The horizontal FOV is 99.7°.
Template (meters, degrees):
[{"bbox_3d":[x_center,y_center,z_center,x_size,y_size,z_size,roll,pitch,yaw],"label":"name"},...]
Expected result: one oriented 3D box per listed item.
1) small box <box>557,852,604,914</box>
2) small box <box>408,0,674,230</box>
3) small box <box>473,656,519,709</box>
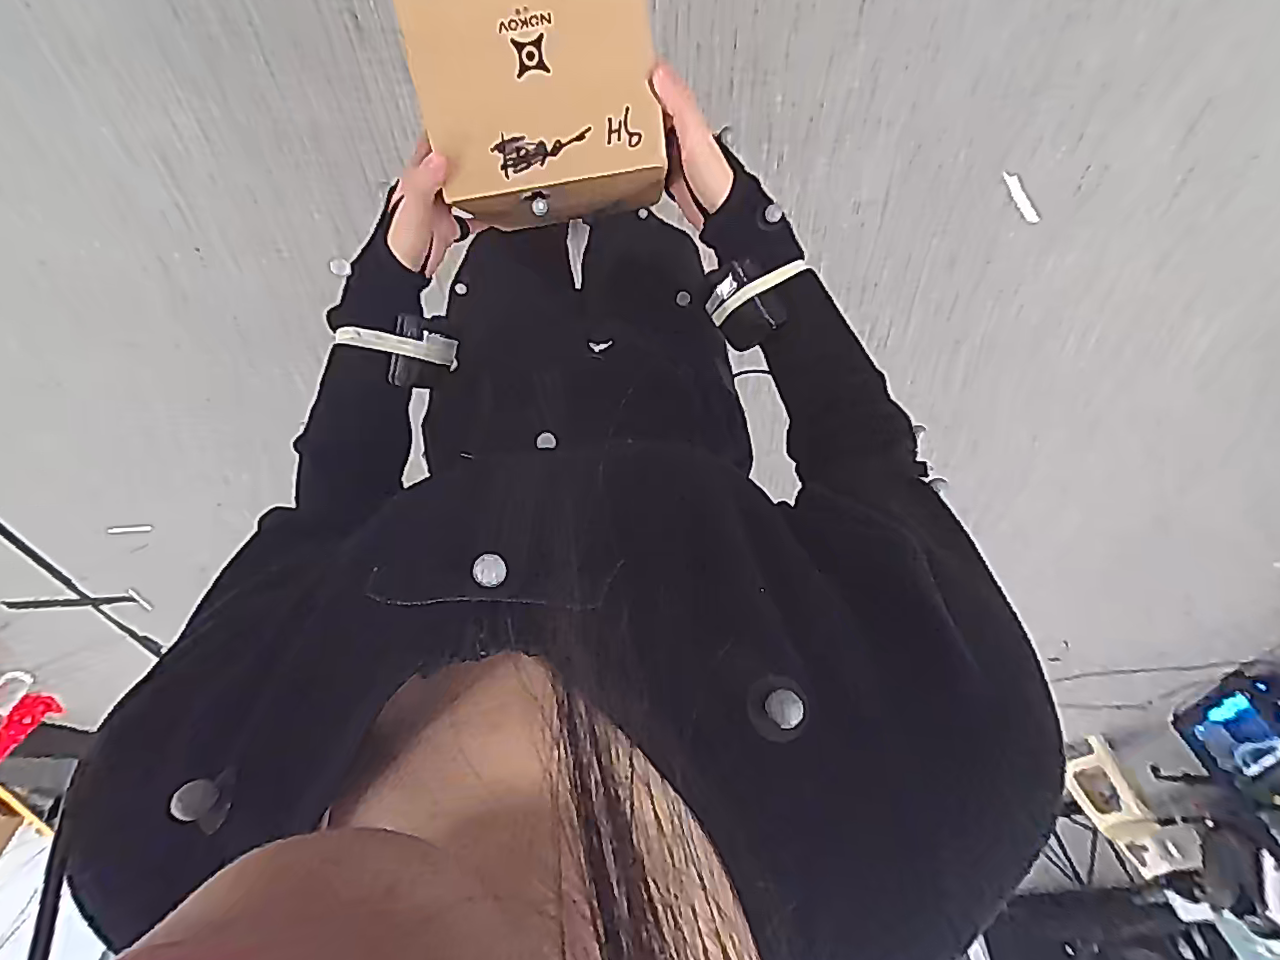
[{"bbox_3d":[-0.227,1.557,2.093,0.168,0.176,0.179,-2,134,0],"label":"small box"},{"bbox_3d":[-0.068,-0.317,0.437,0.168,0.176,0.179,-8,108,3],"label":"small box"},{"bbox_3d":[-0.660,0.928,2.486,0.179,0.176,0.168,8,130,-12],"label":"small box"}]
